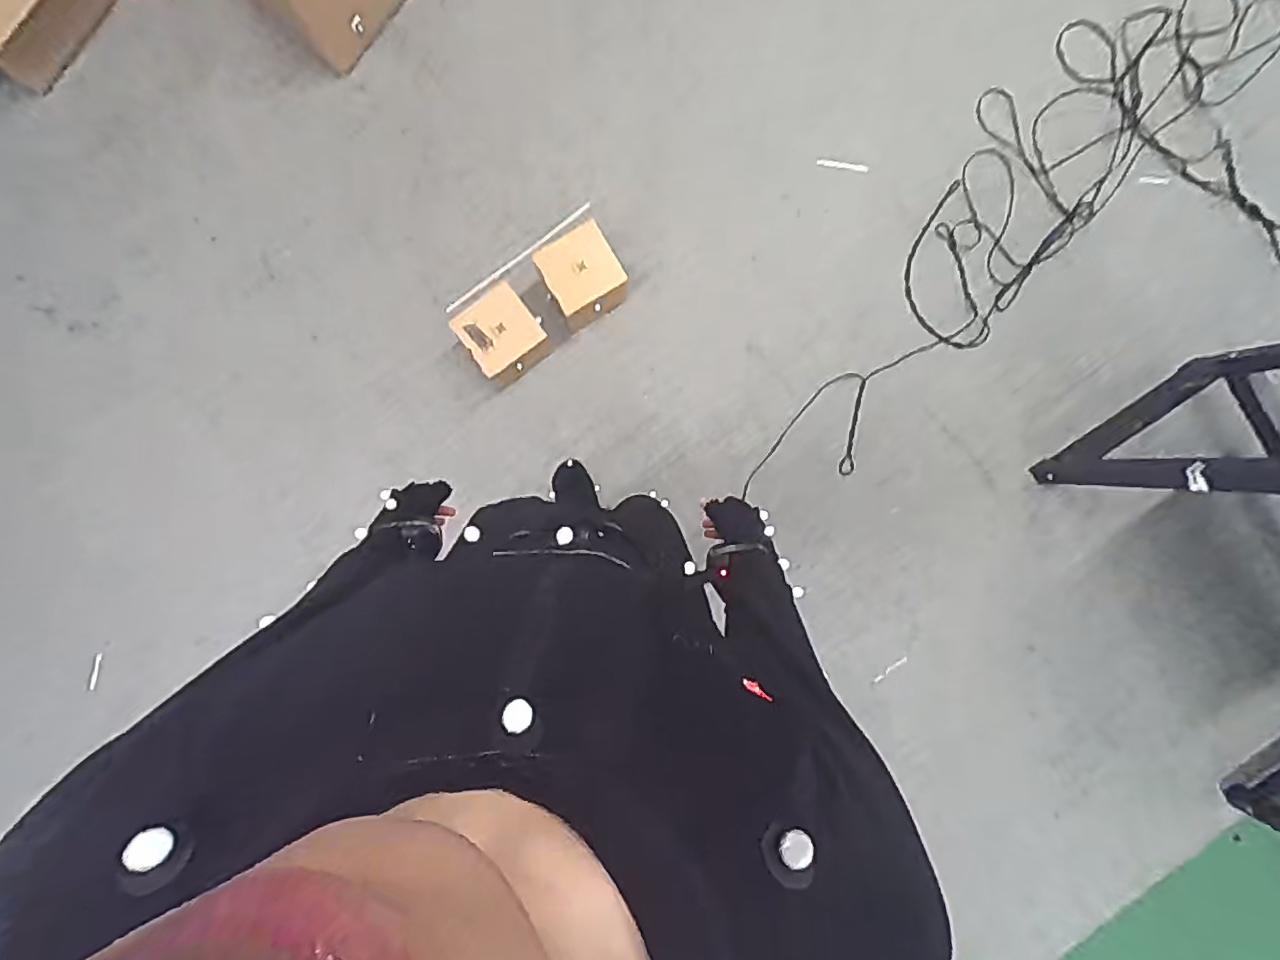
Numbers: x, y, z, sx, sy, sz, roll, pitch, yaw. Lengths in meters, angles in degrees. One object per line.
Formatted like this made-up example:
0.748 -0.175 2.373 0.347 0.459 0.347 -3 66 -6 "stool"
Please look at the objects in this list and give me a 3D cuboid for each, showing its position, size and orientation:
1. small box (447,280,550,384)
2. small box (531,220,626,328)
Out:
-0.346 -0.361 1.359 0.179 0.176 0.168 -37 94 -1 "small box"
-0.150 -0.511 1.362 0.179 0.176 0.168 -31 94 0 "small box"
